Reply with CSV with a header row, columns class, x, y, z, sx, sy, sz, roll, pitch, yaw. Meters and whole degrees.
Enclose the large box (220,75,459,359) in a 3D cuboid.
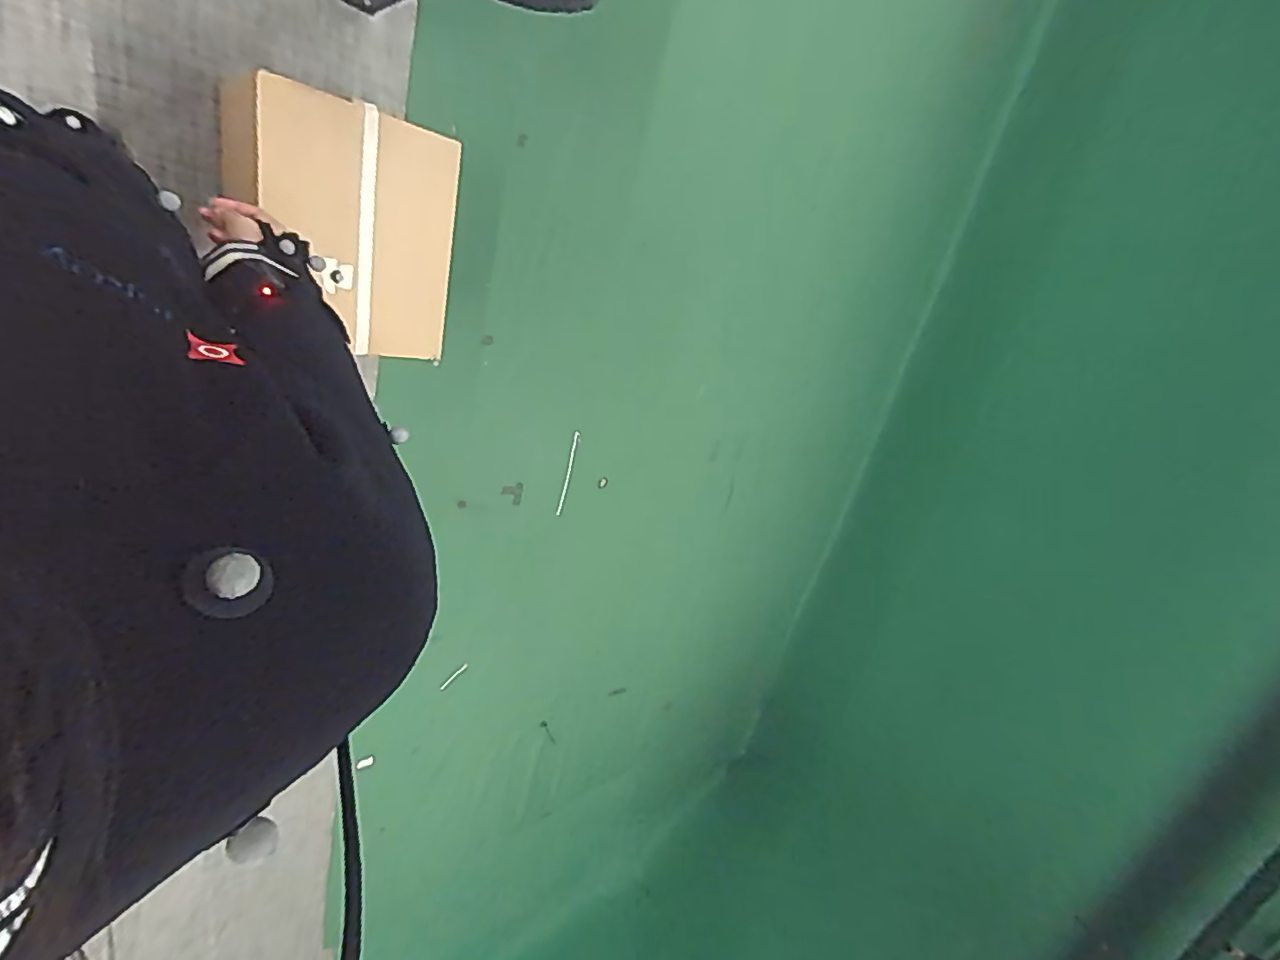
class,x,y,z,sx,sy,sz,roll,pitch,yaw
large box,-0.576,-0.476,1.035,0.320,0.320,0.408,-7,119,-43
